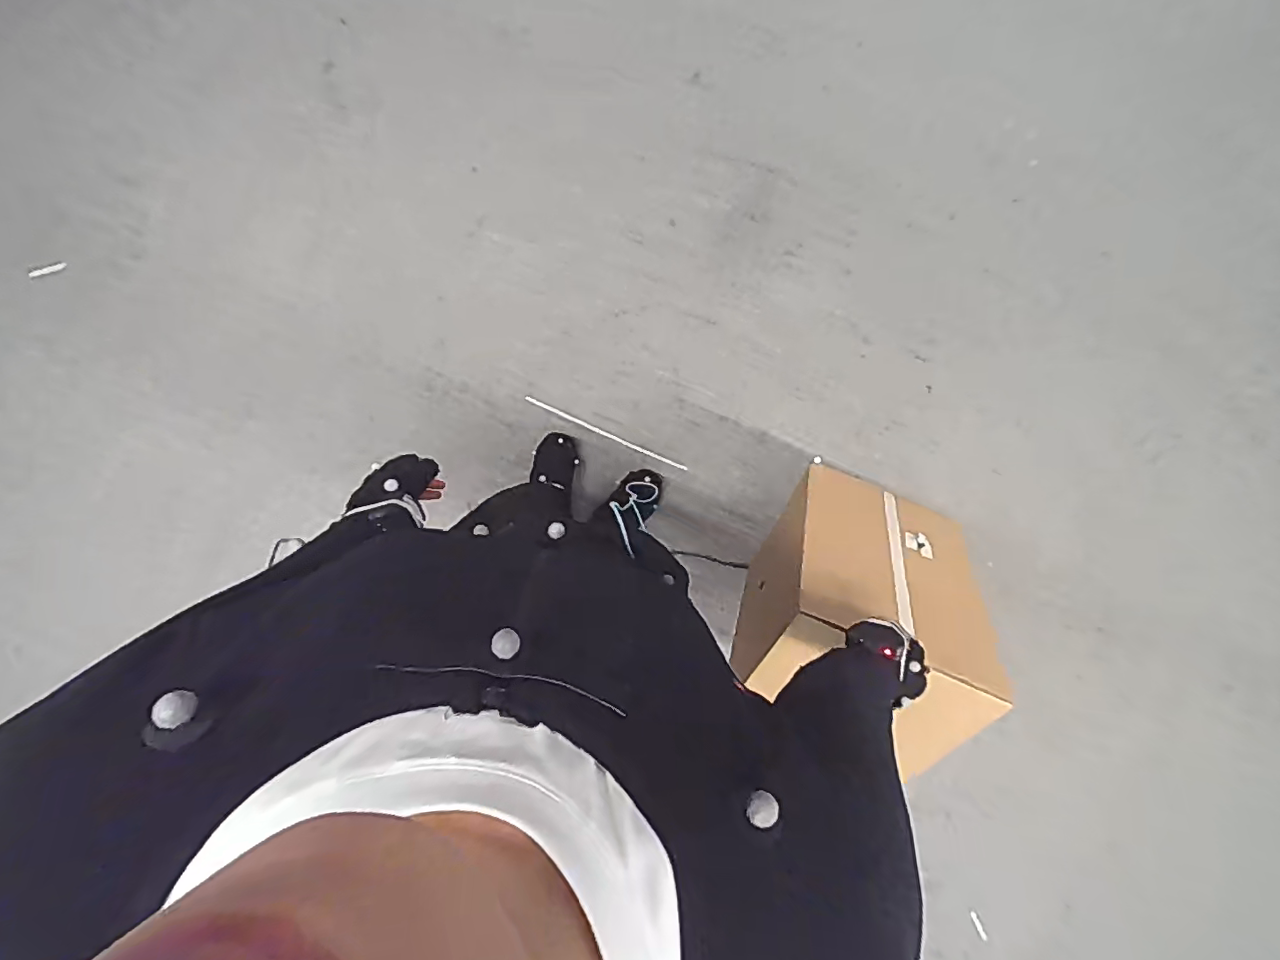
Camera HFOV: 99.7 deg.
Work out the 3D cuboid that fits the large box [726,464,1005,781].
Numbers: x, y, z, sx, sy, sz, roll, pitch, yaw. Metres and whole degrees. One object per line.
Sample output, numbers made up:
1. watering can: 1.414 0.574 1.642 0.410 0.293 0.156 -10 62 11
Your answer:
1. large box: 0.375 0.243 0.992 0.320 0.408 0.320 23 126 4
